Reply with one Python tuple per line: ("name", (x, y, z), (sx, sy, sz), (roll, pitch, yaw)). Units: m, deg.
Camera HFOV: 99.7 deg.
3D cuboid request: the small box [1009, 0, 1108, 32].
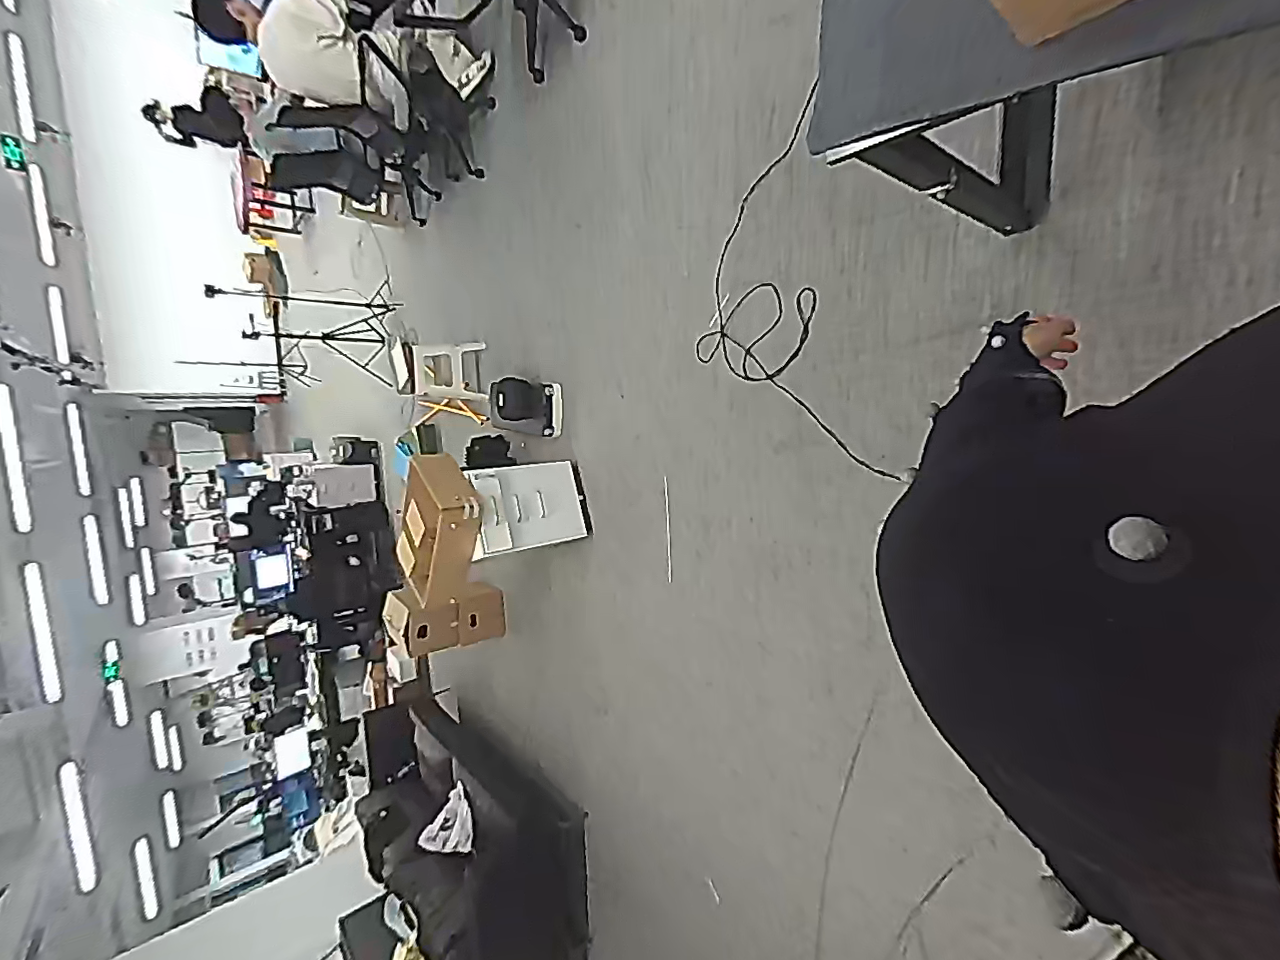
("small box", (0.434, -0.583, 0.504), (0.168, 0.176, 0.179), (6, 101, 51))
